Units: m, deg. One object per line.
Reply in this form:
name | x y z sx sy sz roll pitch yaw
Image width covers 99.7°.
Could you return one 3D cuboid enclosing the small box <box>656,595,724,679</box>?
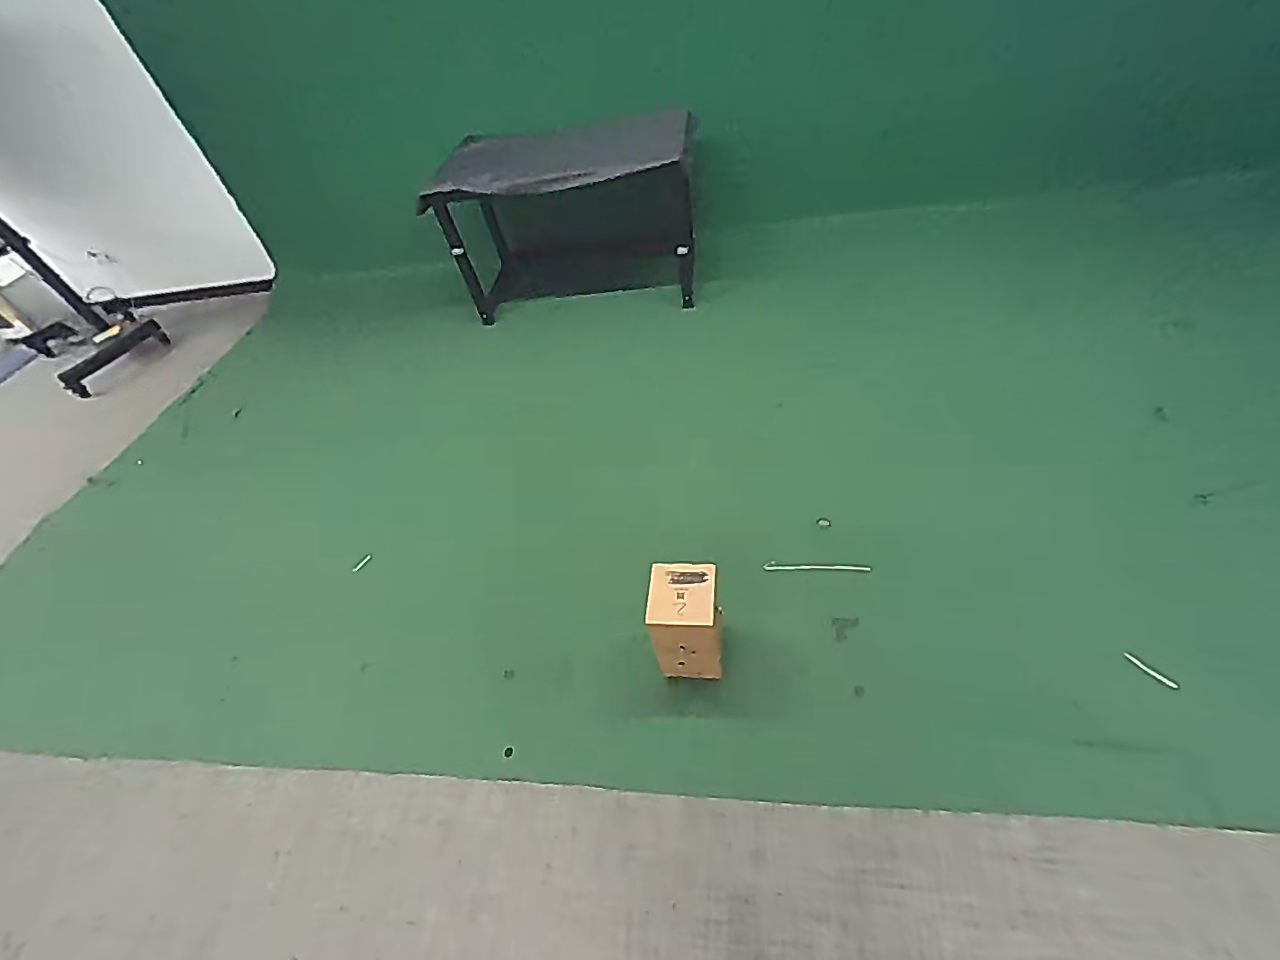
small box | 0.146 0.441 1.513 0.168 0.176 0.179 -2 47 12
